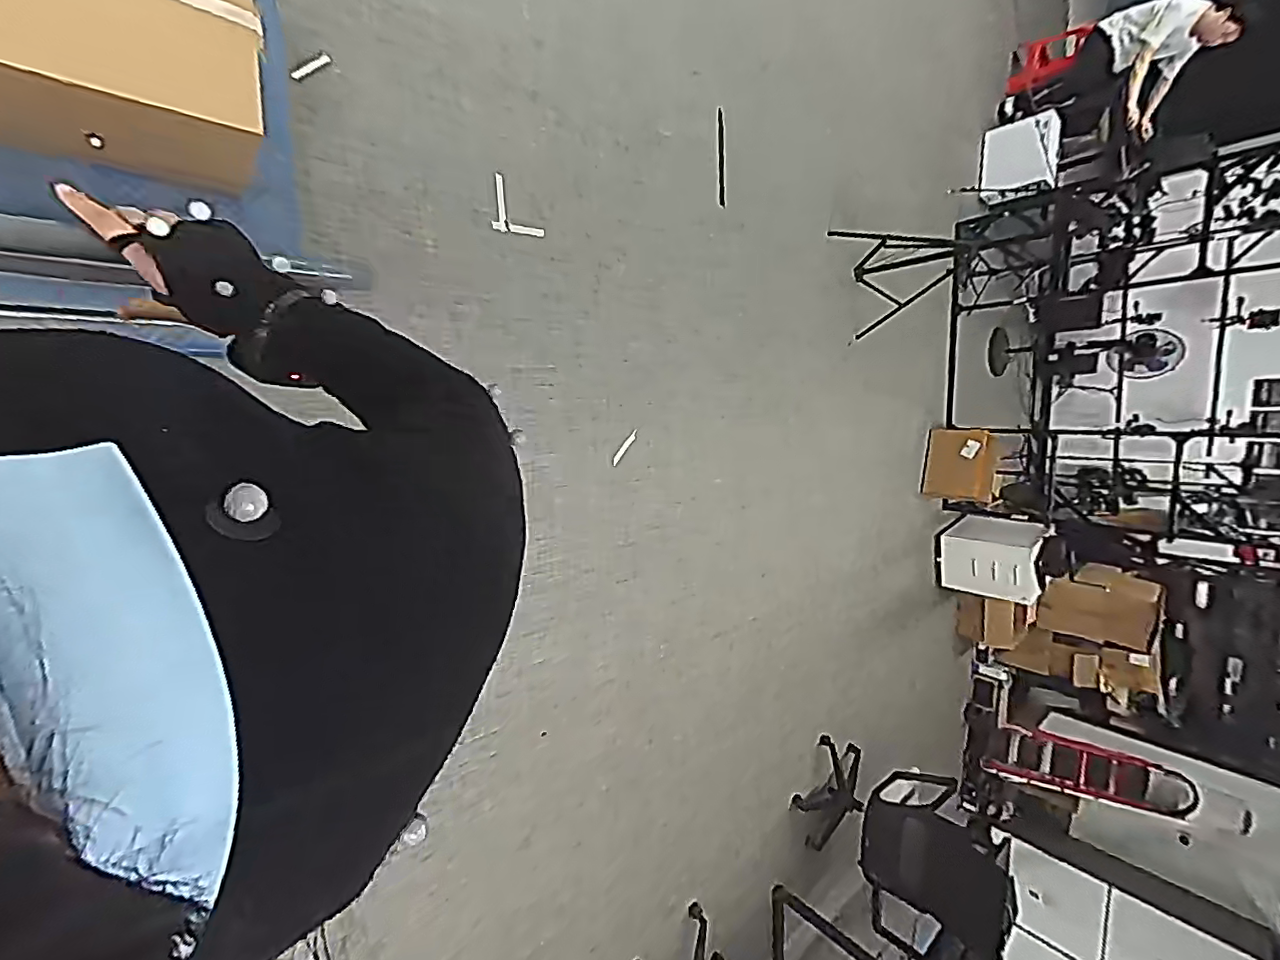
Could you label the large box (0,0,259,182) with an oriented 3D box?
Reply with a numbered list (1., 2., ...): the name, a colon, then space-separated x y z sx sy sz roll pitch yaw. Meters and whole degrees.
1. large box: -0.824 -0.686 0.786 0.408 0.320 0.320 -6 98 -40
